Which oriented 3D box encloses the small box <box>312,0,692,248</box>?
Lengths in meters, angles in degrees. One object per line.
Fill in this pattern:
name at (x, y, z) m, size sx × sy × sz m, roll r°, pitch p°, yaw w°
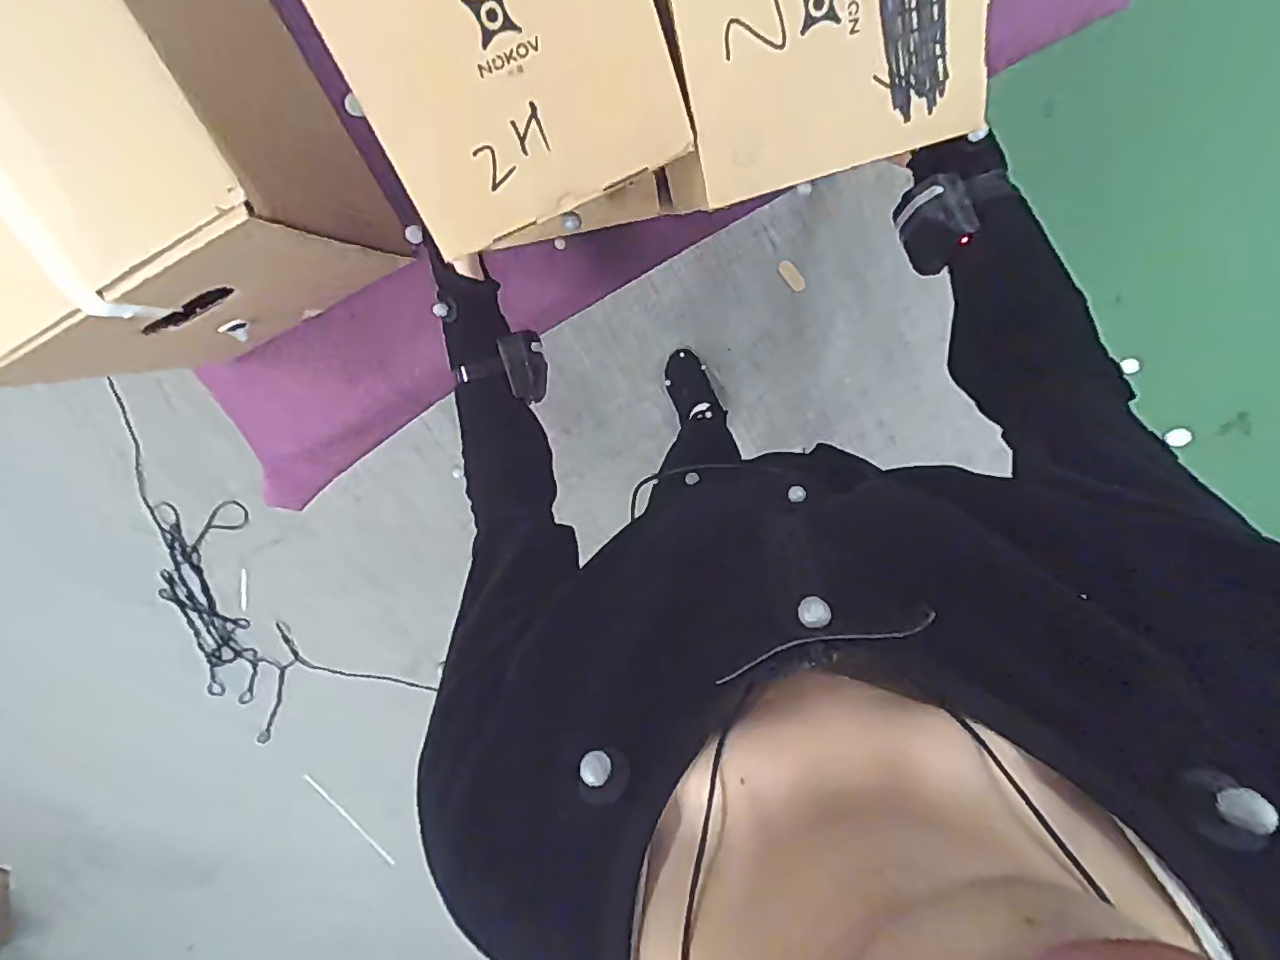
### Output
small box at (-0.085, -0.270, 0.350) m, size 0.168 × 0.176 × 0.179 m, roll -22°, pitch 117°, yaw 3°
